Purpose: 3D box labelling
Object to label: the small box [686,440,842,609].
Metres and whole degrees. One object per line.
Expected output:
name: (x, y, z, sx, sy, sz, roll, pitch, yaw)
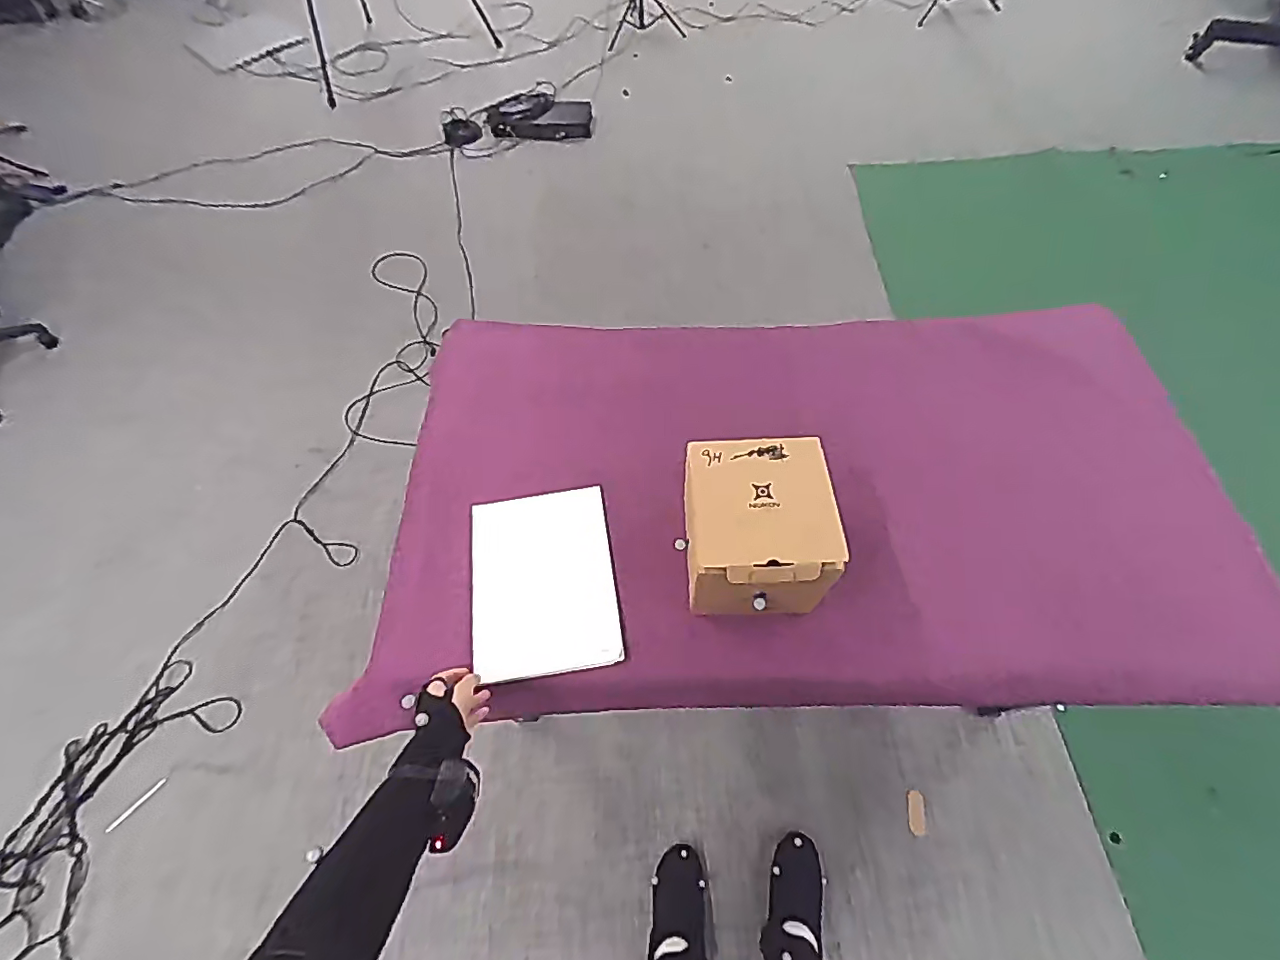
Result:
small box: (0.147, 0.066, 0.708, 0.168, 0.176, 0.179, -1, 61, 2)
